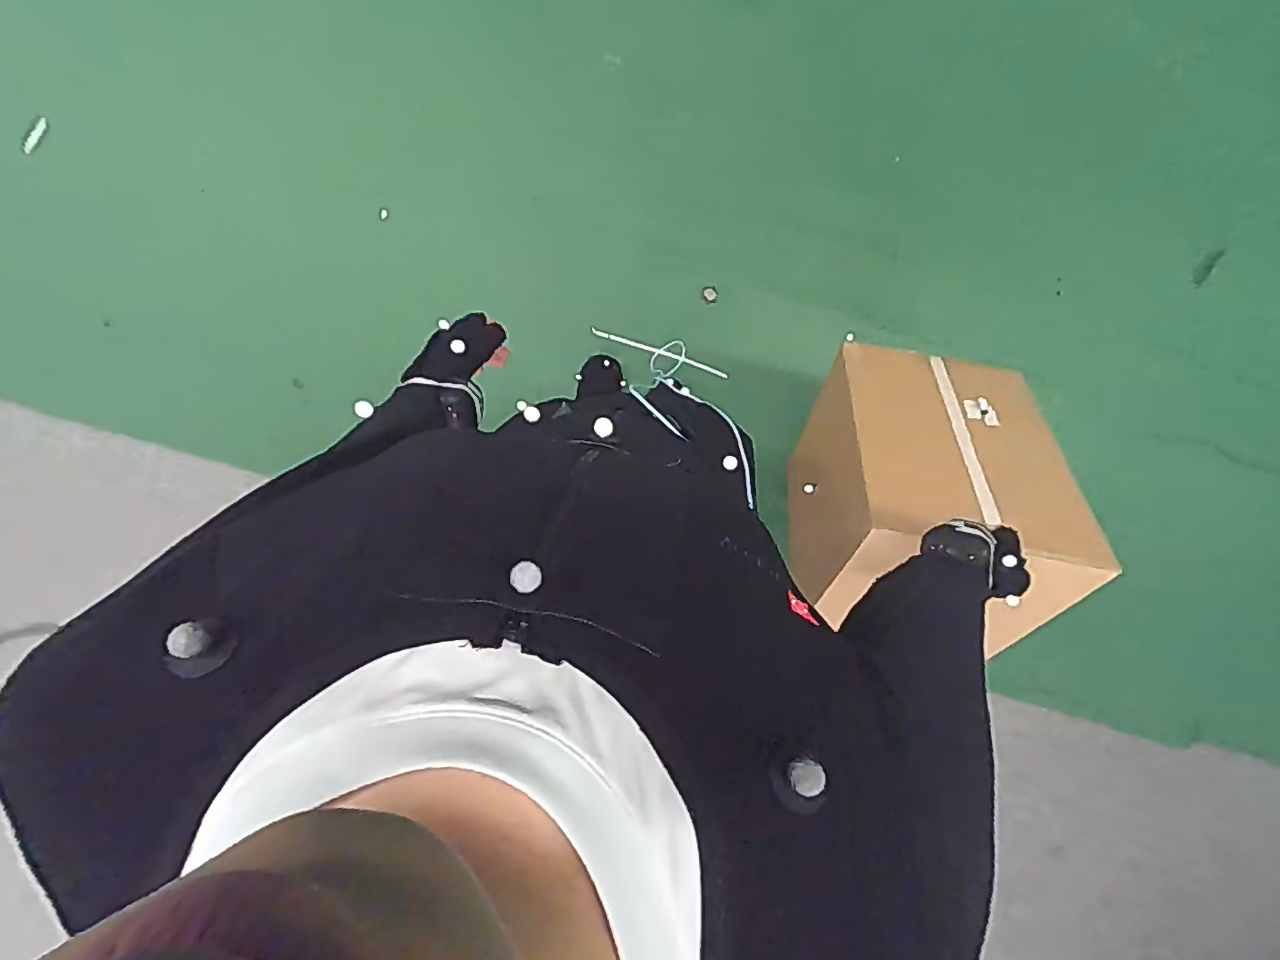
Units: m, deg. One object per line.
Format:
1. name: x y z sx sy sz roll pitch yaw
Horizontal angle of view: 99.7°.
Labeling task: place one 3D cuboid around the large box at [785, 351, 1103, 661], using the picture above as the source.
1. large box: 0.452 0.042 0.931 0.320 0.408 0.320 12 138 0
